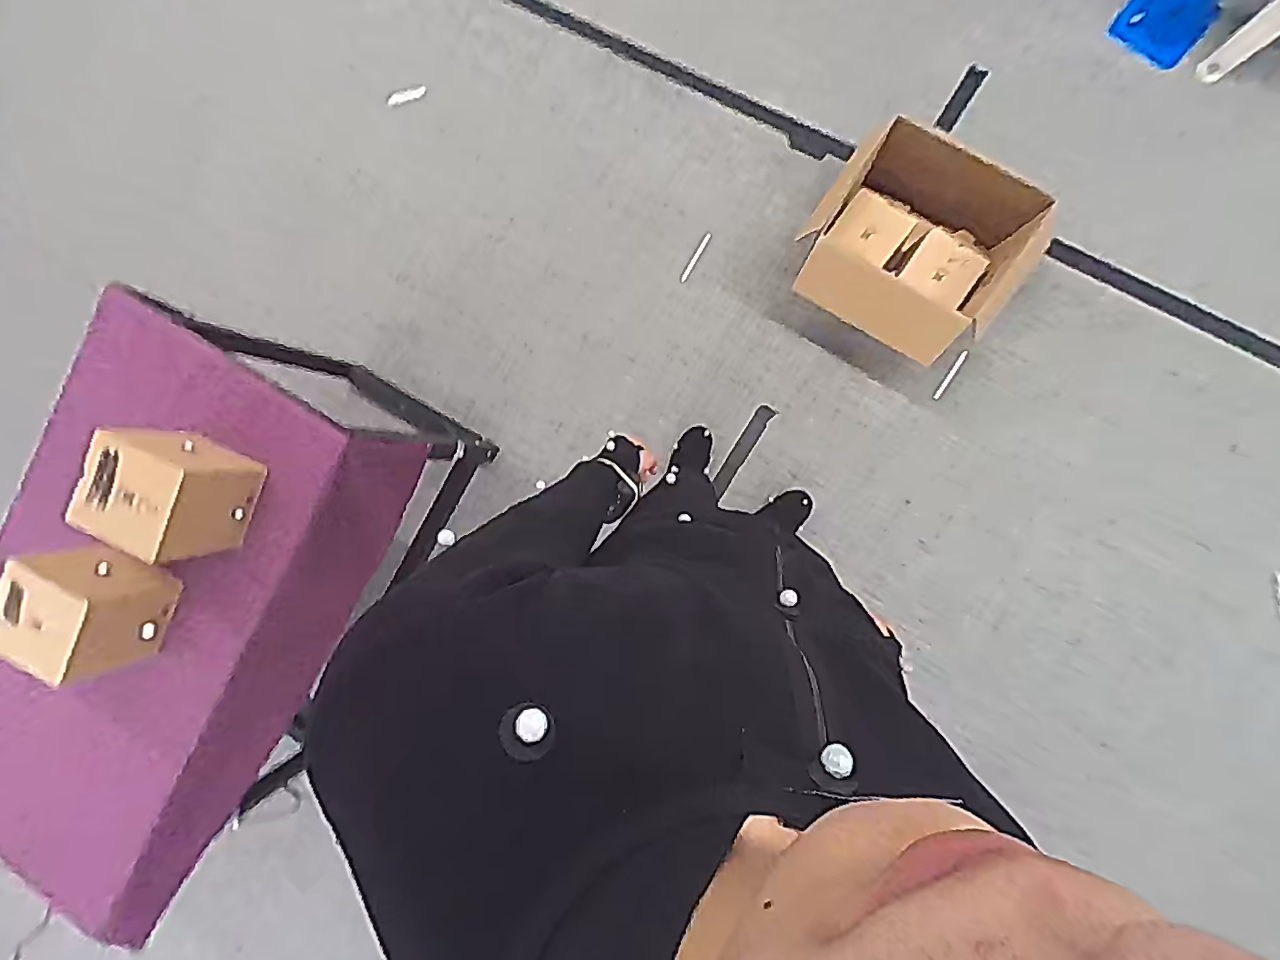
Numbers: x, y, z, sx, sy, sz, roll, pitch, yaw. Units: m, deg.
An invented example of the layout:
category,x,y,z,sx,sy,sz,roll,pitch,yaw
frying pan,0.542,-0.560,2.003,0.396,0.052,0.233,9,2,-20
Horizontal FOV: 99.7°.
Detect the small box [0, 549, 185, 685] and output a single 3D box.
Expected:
category,x,y,z,sx,sy,sz,roll,pitch,yaw
small box,-1.009,0.239,0.998,0.179,0.176,0.168,25,95,6
